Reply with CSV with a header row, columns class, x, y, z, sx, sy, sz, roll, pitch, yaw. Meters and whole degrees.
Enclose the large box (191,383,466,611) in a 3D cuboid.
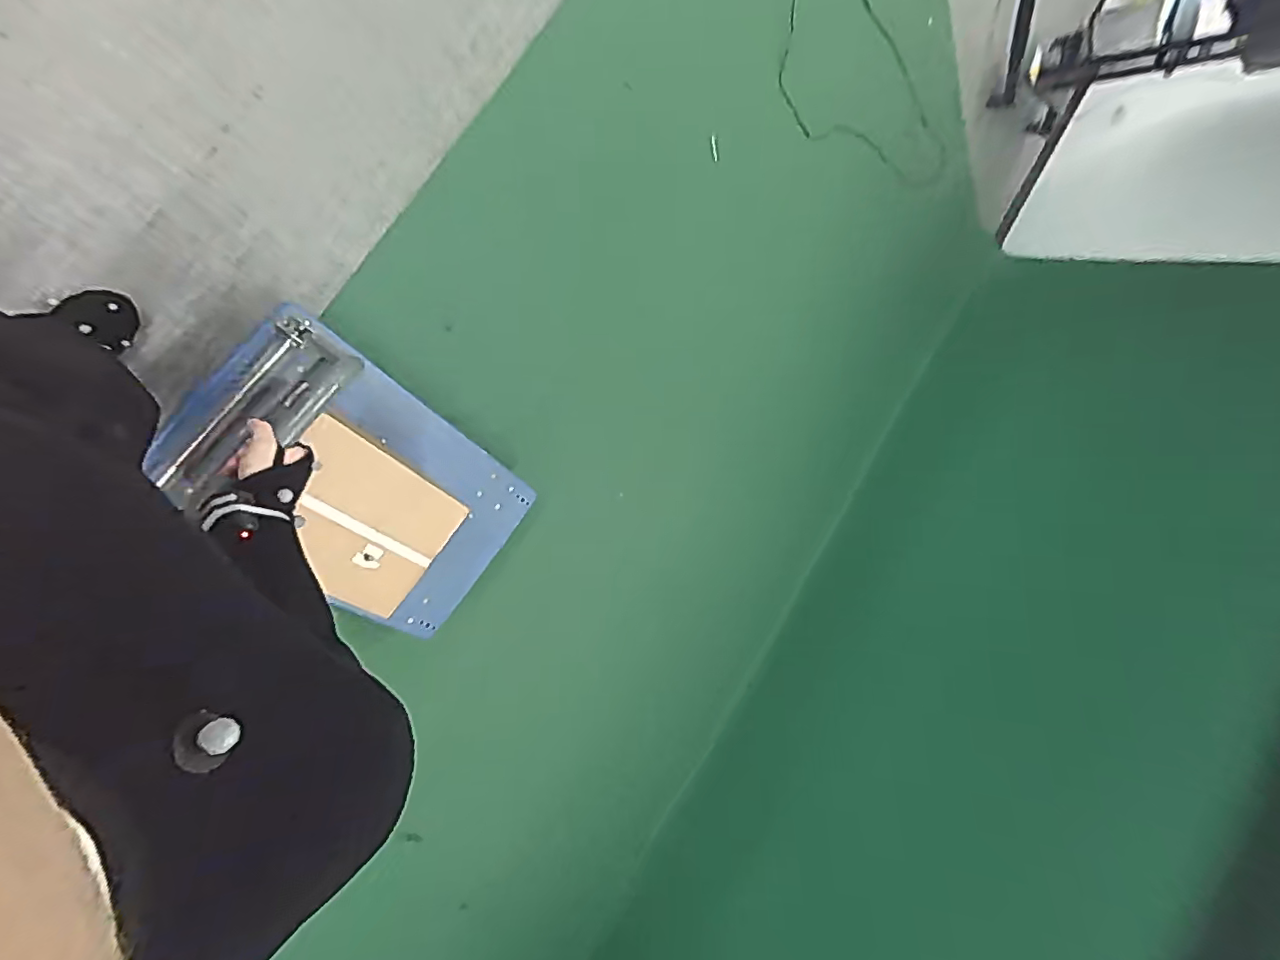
class,x,y,z,sx,sy,sz,roll,pitch,yaw
large box,-0.701,0.038,1.238,0.320,0.320,0.408,-54,136,-10
